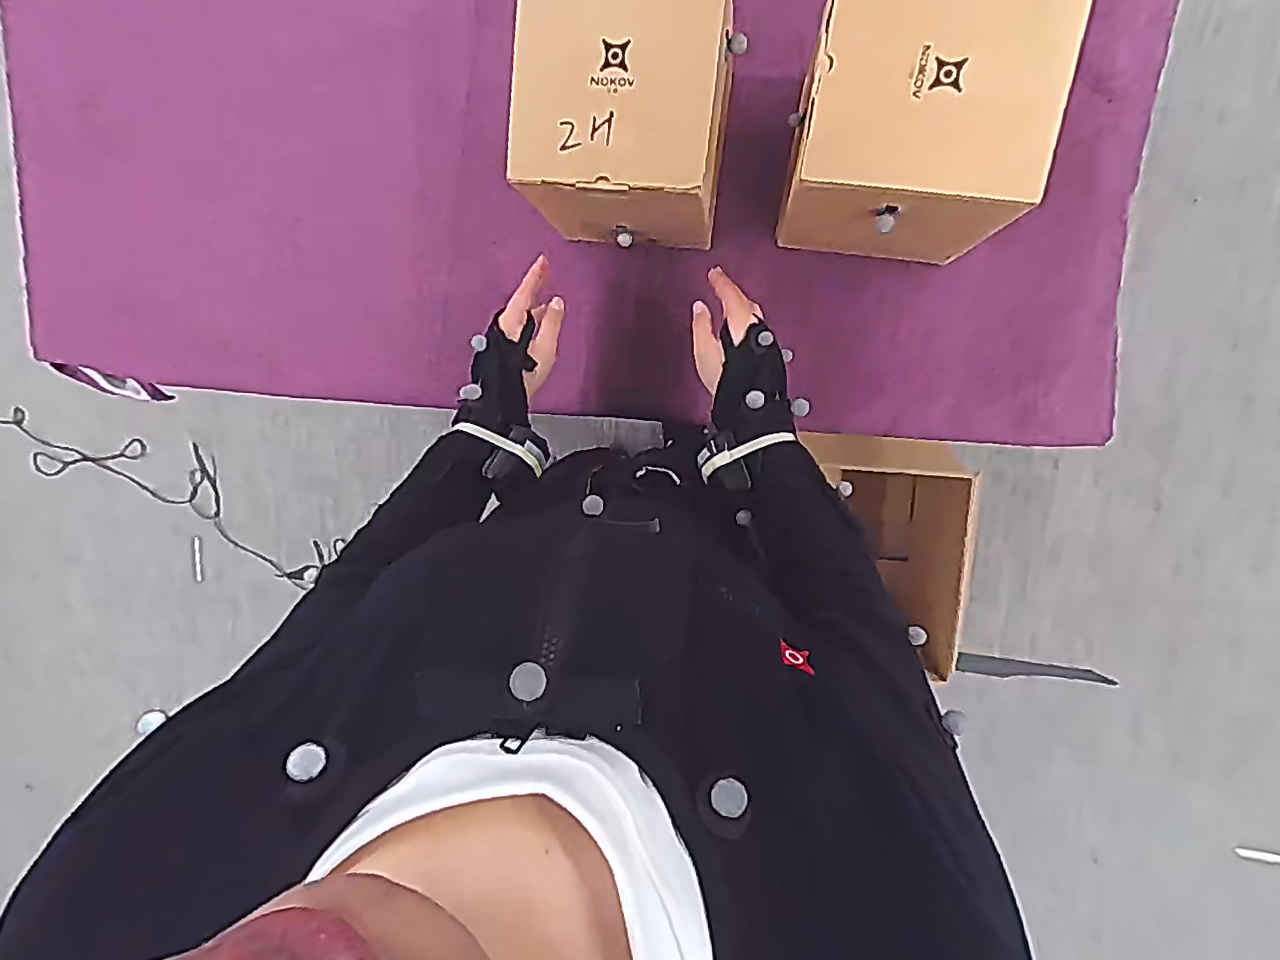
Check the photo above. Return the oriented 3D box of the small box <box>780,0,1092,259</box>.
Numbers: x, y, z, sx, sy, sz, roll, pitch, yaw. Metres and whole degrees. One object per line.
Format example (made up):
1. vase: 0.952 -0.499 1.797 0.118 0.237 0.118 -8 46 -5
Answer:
1. small box: 0.231 -0.304 0.470 0.179 0.176 0.168 10 99 8

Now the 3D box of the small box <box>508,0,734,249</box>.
1. small box: -0.007 -0.335 0.501 0.168 0.176 0.179 8 99 8
